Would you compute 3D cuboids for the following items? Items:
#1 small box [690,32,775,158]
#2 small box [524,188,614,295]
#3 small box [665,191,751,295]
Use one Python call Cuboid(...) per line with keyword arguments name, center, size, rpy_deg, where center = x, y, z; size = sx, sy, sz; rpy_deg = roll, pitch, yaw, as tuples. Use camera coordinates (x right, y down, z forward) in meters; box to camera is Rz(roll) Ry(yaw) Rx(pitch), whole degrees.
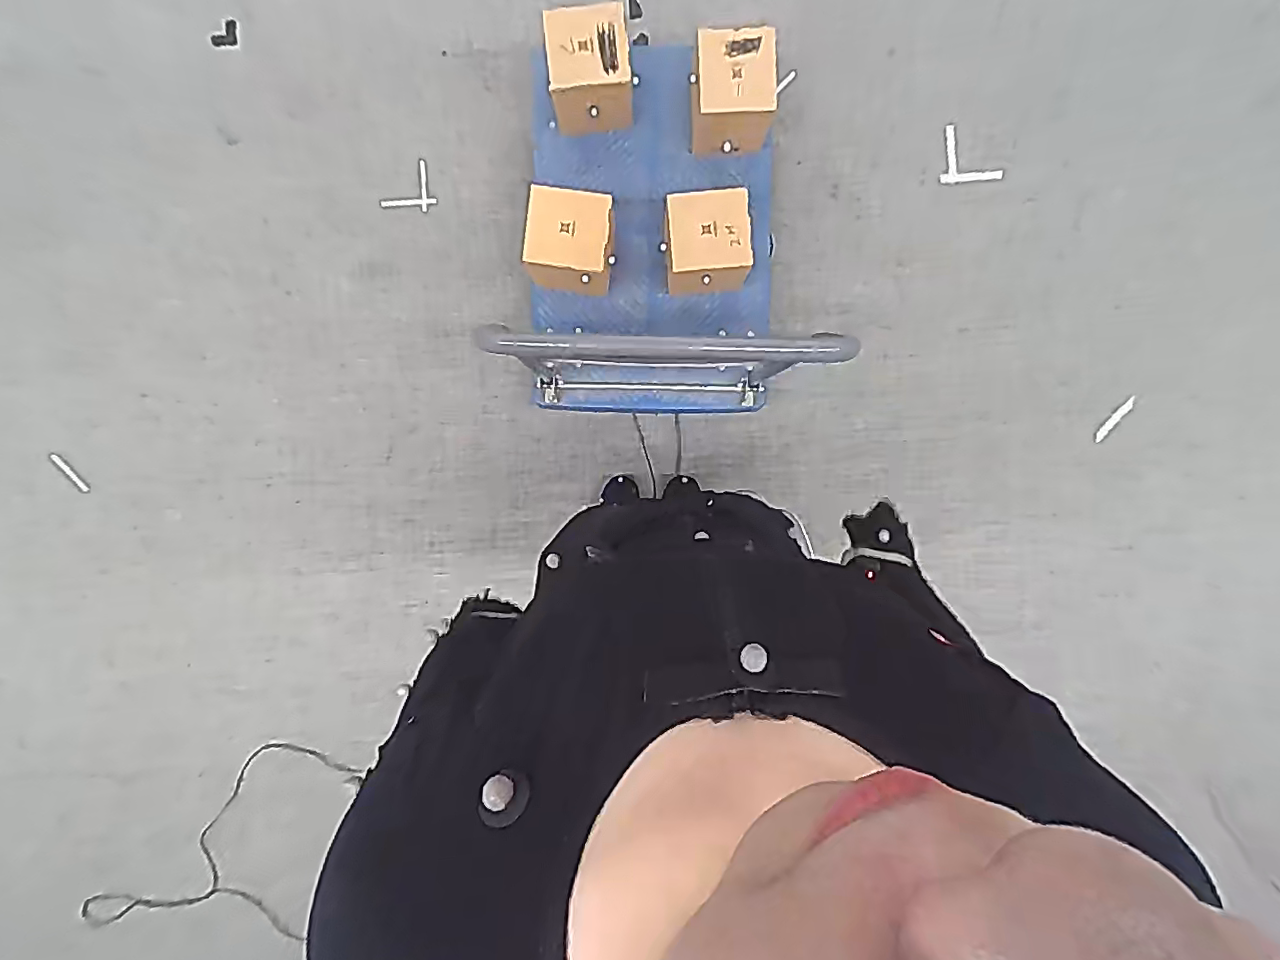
Cuboid(name="small box", center=(0.205, -0.870, 1.234), size=(0.168, 0.176, 0.179), rpy_deg=(-2, 93, 0))
Cuboid(name="small box", center=(-0.156, -0.538, 1.240), size=(0.179, 0.176, 0.168), rpy_deg=(7, 91, -2))
Cuboid(name="small box", center=(0.149, -0.535, 1.242), size=(0.179, 0.176, 0.168), rpy_deg=(-5, 92, 0))
